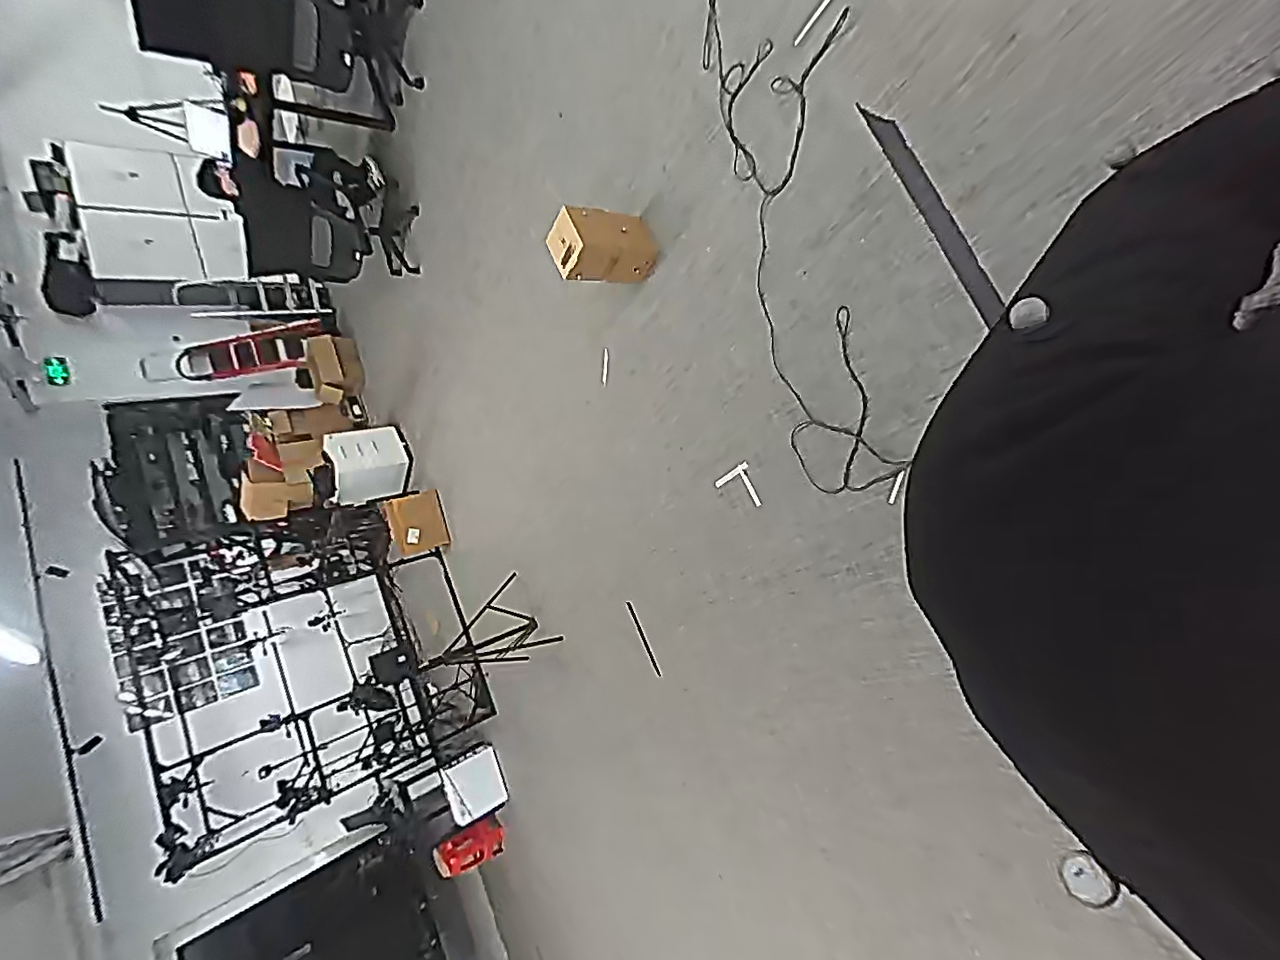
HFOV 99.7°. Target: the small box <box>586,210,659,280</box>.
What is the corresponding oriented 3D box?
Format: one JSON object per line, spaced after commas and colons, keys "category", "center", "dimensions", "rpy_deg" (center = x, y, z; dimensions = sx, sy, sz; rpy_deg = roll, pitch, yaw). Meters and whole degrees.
{"category": "small box", "center": [-0.062, -0.846, 1.967], "dimensions": [0.179, 0.176, 0.168], "rpy_deg": [62, 141, 16]}
